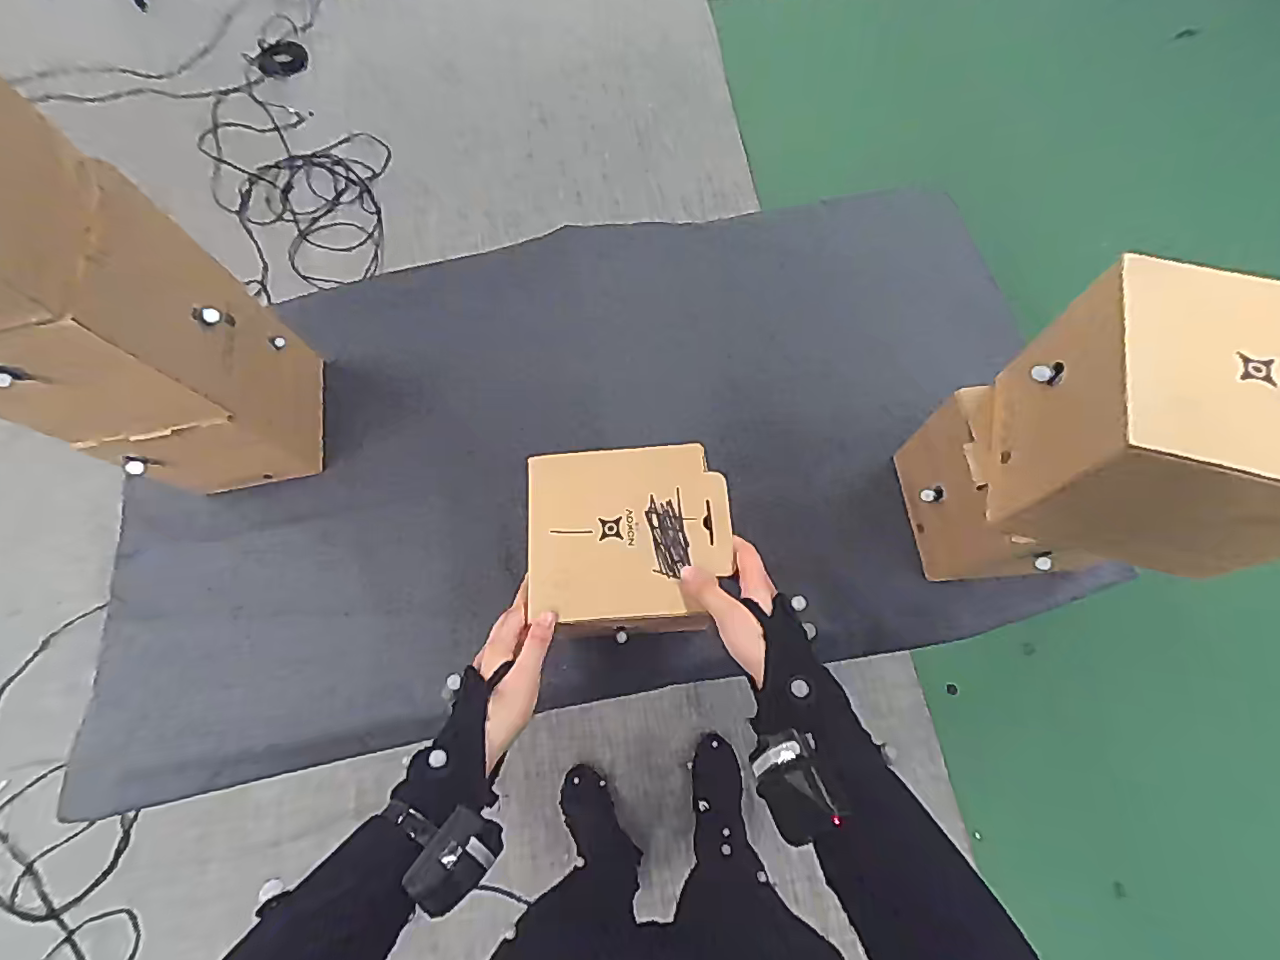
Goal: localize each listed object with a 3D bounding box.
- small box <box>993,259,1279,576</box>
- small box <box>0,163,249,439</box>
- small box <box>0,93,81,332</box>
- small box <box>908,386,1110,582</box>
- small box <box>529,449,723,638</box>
[{"bbox_3d":[0.412,-0.036,0.423,0.179,0.176,0.168,15,70,8],"label":"small box"},{"bbox_3d":[-0.513,-0.151,0.502,0.179,0.176,0.168,-10,72,-2],"label":"small box"},{"bbox_3d":[-0.525,-0.200,0.348,0.168,0.176,0.179,-14,71,-4],"label":"small box"},{"bbox_3d":[0.414,0.009,0.581,0.179,0.176,0.168,-5,68,2],"label":"small box"},{"bbox_3d":[-0.013,0.077,0.581,0.179,0.176,0.168,-4,70,2],"label":"small box"}]
